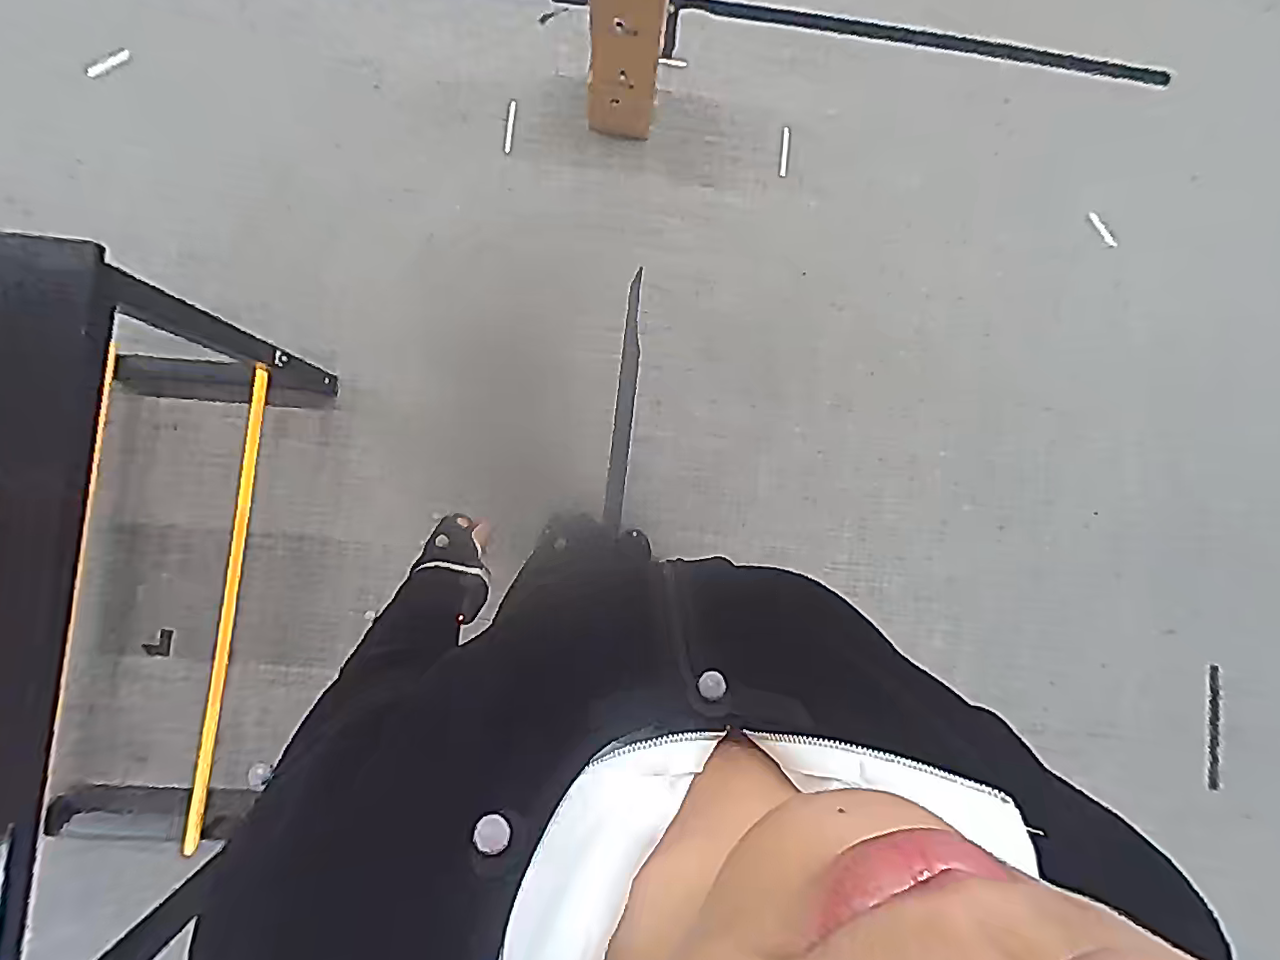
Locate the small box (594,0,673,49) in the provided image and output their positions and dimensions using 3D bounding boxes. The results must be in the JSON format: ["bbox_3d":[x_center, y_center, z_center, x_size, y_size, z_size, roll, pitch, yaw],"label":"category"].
[{"bbox_3d":[-0.007,-1.088,1.159,0.168,0.176,0.179,9,87,-3],"label":"small box"}]

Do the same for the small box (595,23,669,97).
[{"bbox_3d":[-0.018,-1.093,1.322,0.168,0.176,0.179,9,87,-4],"label":"small box"}]

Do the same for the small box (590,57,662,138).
[{"bbox_3d":[-0.038,-1.080,1.485,0.179,0.176,0.168,9,87,-4],"label":"small box"}]
